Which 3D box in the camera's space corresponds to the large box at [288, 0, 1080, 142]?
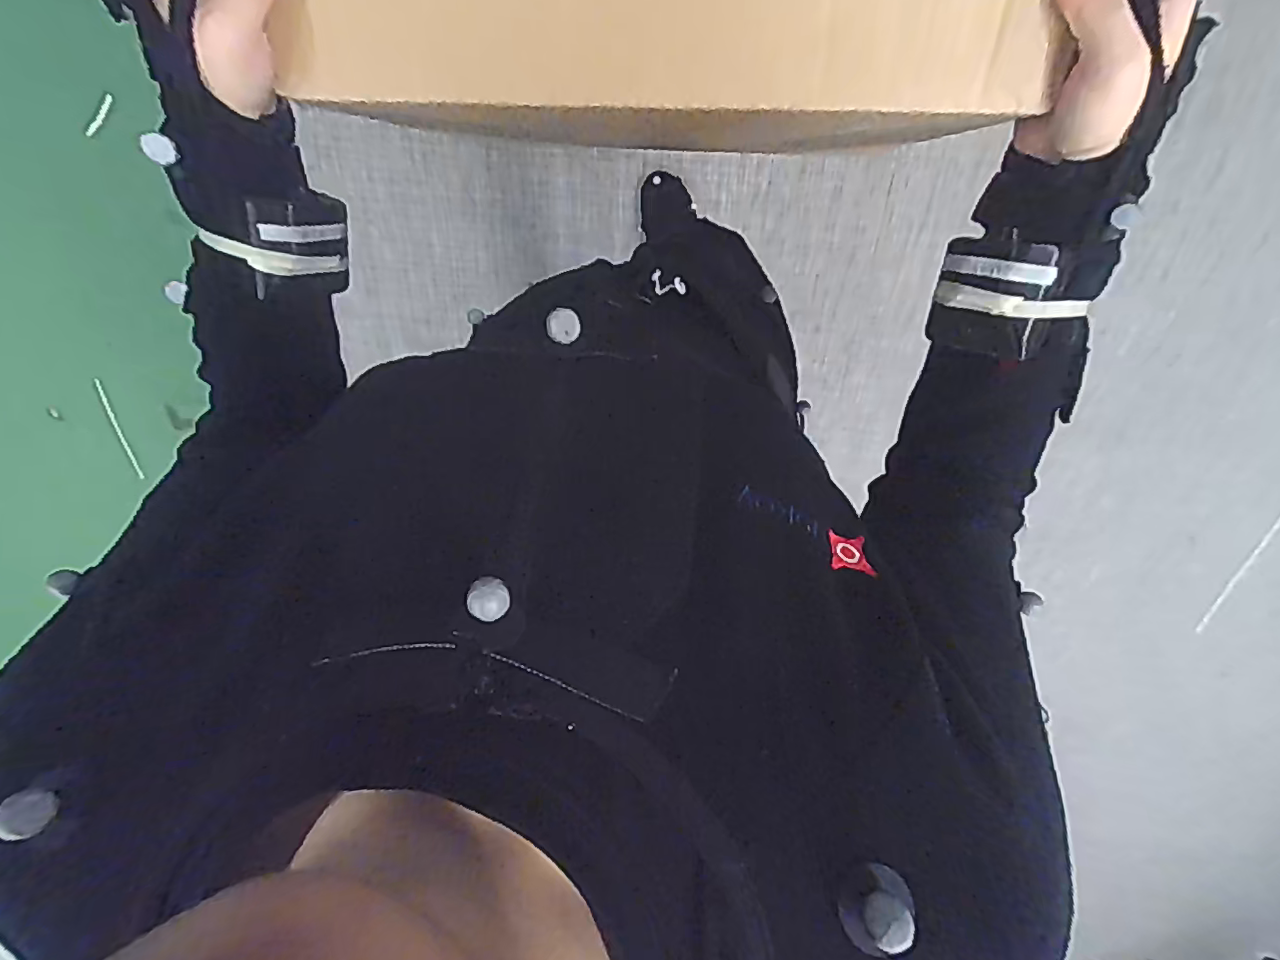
[{"bbox_3d":[0.024,-0.413,0.348,0.408,0.320,0.320,3,119,3],"label":"large box"}]
